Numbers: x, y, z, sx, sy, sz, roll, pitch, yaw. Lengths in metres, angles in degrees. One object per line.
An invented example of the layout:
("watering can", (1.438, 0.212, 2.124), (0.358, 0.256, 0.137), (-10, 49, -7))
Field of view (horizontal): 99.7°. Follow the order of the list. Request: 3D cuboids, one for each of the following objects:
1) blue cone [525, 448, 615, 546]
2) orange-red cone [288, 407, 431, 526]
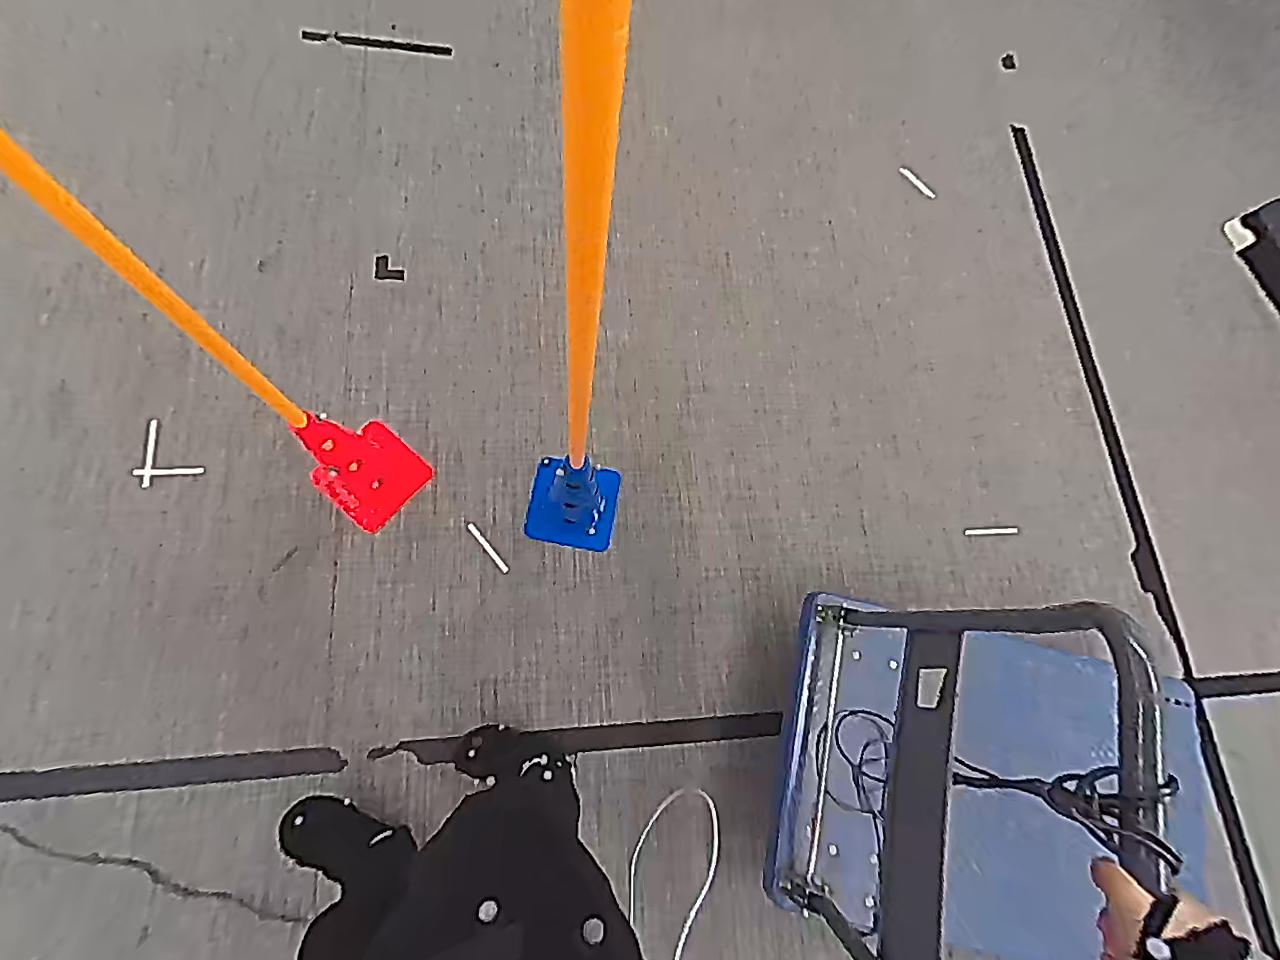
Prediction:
("blue cone", (-0.141, 0.010, 1.101), (0.192, 0.380, 0.193), (13, 74, -3))
("orange-red cone", (-0.575, -0.061, 1.046), (0.199, 0.360, 0.198), (43, 75, 3))
